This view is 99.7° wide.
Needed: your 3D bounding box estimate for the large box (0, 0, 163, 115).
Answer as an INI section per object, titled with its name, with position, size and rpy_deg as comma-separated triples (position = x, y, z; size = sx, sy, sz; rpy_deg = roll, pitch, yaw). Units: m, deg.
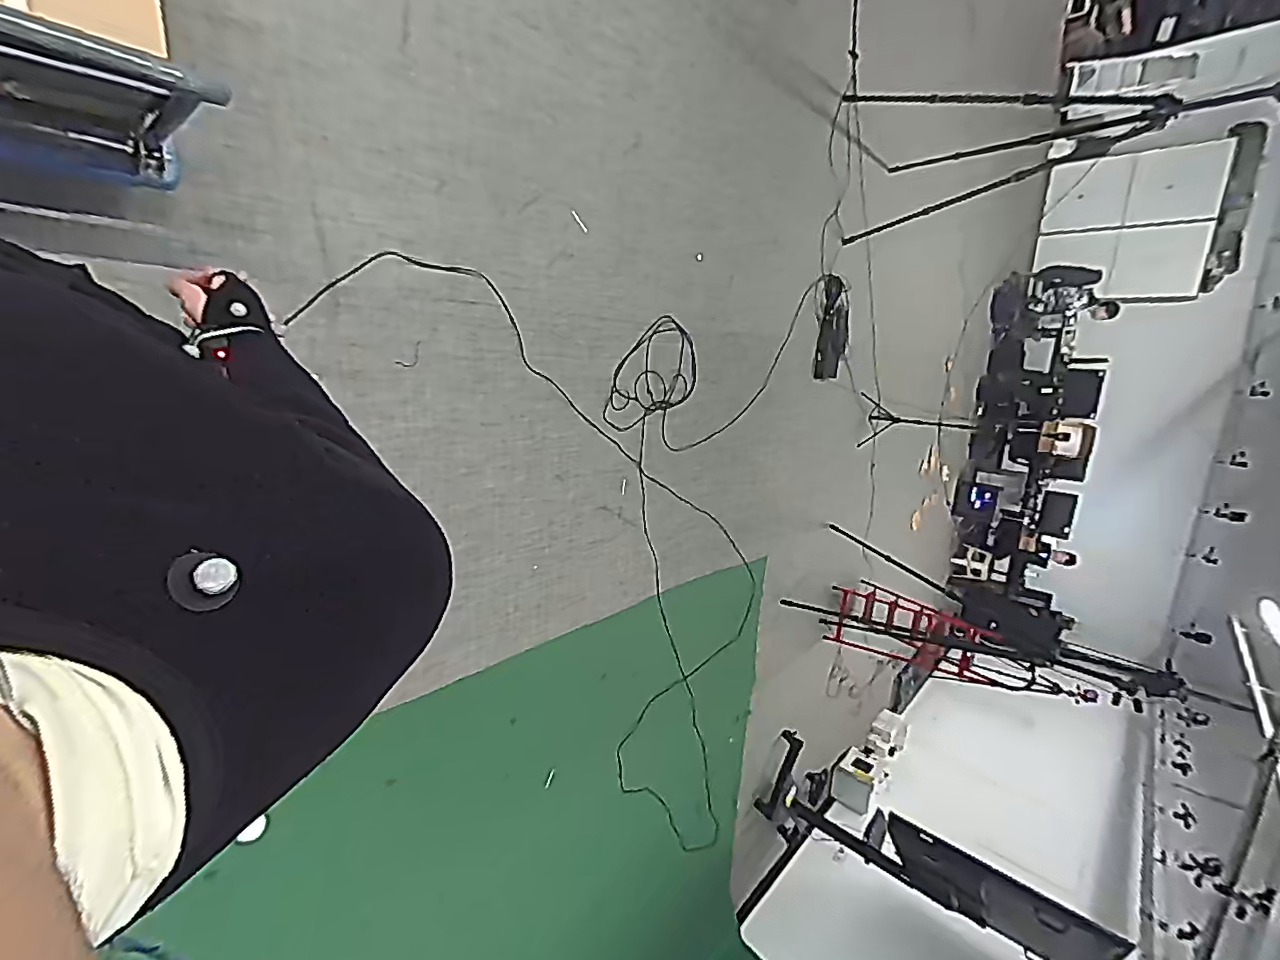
[large box]
position = -0.933, -0.819, 0.765
size = 0.320, 0.320, 0.408
rpy_deg = -13, 110, -46
